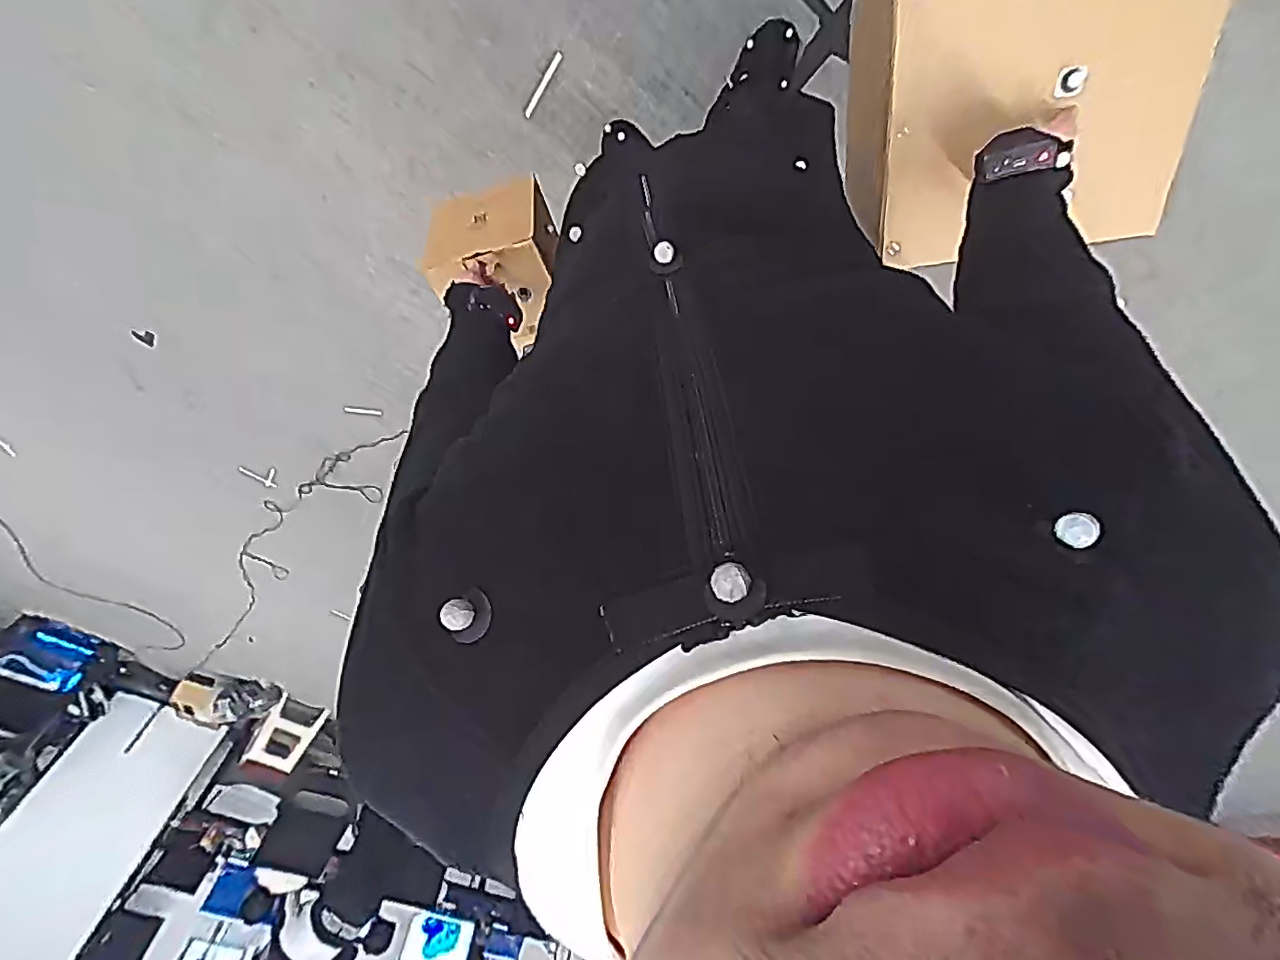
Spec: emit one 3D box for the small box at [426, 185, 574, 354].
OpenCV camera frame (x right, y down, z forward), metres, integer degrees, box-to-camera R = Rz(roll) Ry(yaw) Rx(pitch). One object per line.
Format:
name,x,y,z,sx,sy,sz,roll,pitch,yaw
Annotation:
small box,-0.206,-0.318,0.846,0.168,0.179,0.176,-12,143,8
